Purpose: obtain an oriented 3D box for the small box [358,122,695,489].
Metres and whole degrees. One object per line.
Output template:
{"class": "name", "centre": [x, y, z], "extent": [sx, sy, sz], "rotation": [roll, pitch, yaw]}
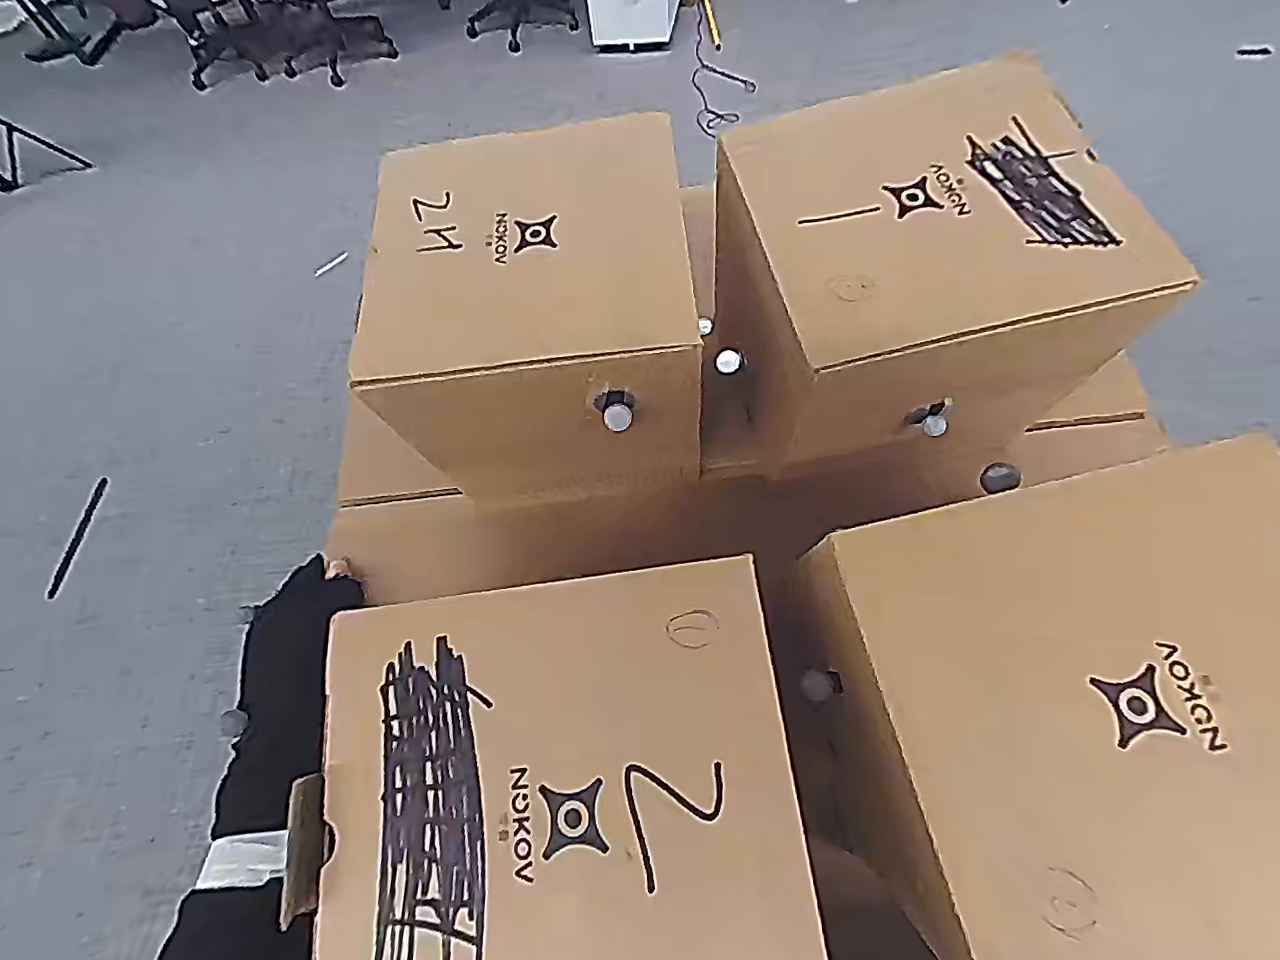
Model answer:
{"class": "small box", "centre": [-0.056, -0.103, 0.375], "extent": [0.179, 0.176, 0.168], "rotation": [-5, 67, 5]}
